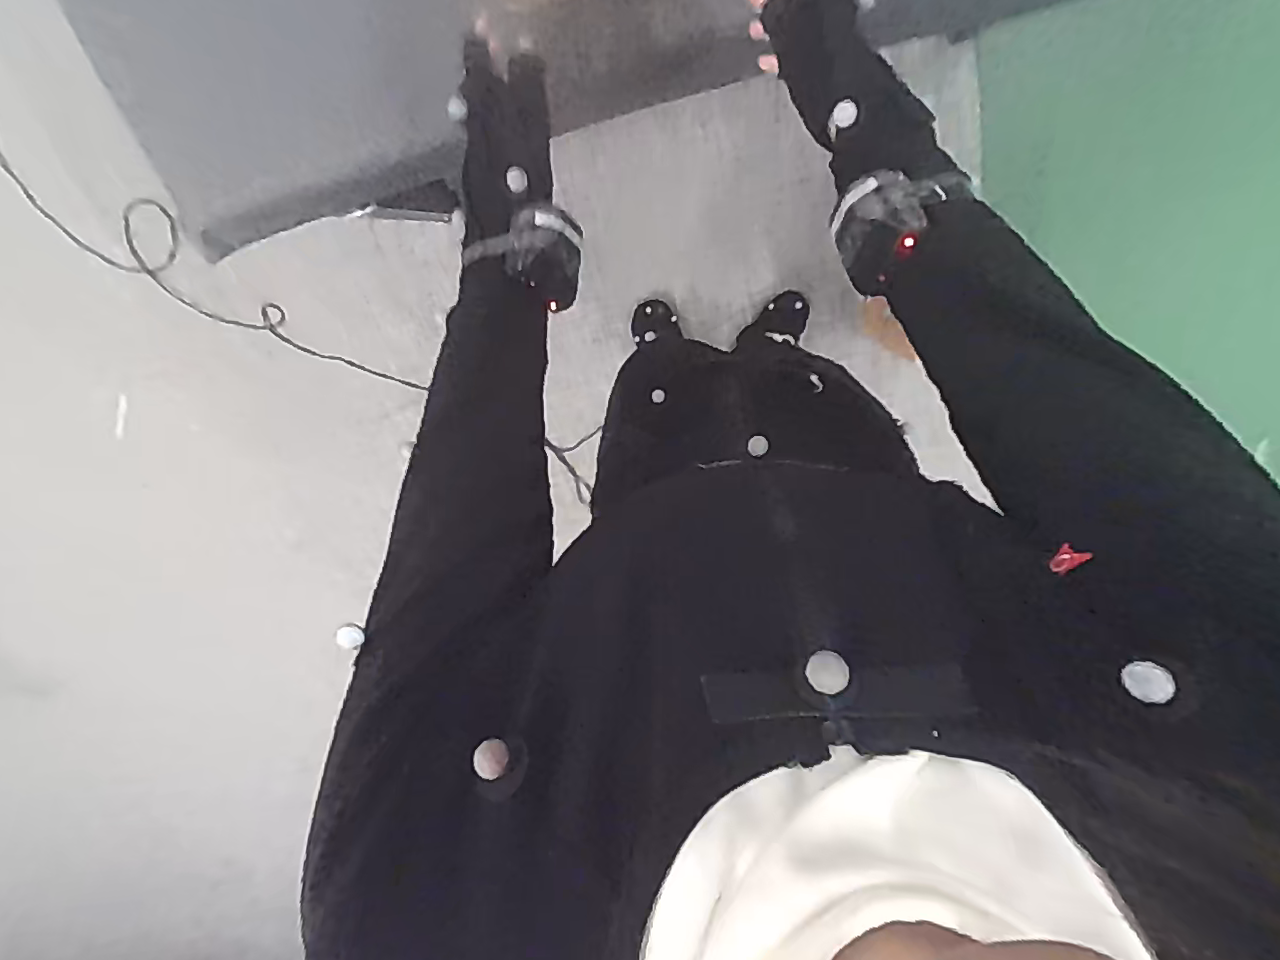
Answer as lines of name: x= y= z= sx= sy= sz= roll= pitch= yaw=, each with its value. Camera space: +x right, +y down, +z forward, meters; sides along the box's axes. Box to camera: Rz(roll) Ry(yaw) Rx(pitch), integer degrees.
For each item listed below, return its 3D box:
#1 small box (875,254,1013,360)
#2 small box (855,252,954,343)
small box: x=0.582 y=-0.343 z=1.057 sx=0.179 sy=0.176 sz=0.168 roll=-7 pitch=113 yaw=6
small box: x=0.599 y=-0.411 z=1.207 sx=0.179 sy=0.176 sz=0.168 roll=-6 pitch=113 yaw=6
